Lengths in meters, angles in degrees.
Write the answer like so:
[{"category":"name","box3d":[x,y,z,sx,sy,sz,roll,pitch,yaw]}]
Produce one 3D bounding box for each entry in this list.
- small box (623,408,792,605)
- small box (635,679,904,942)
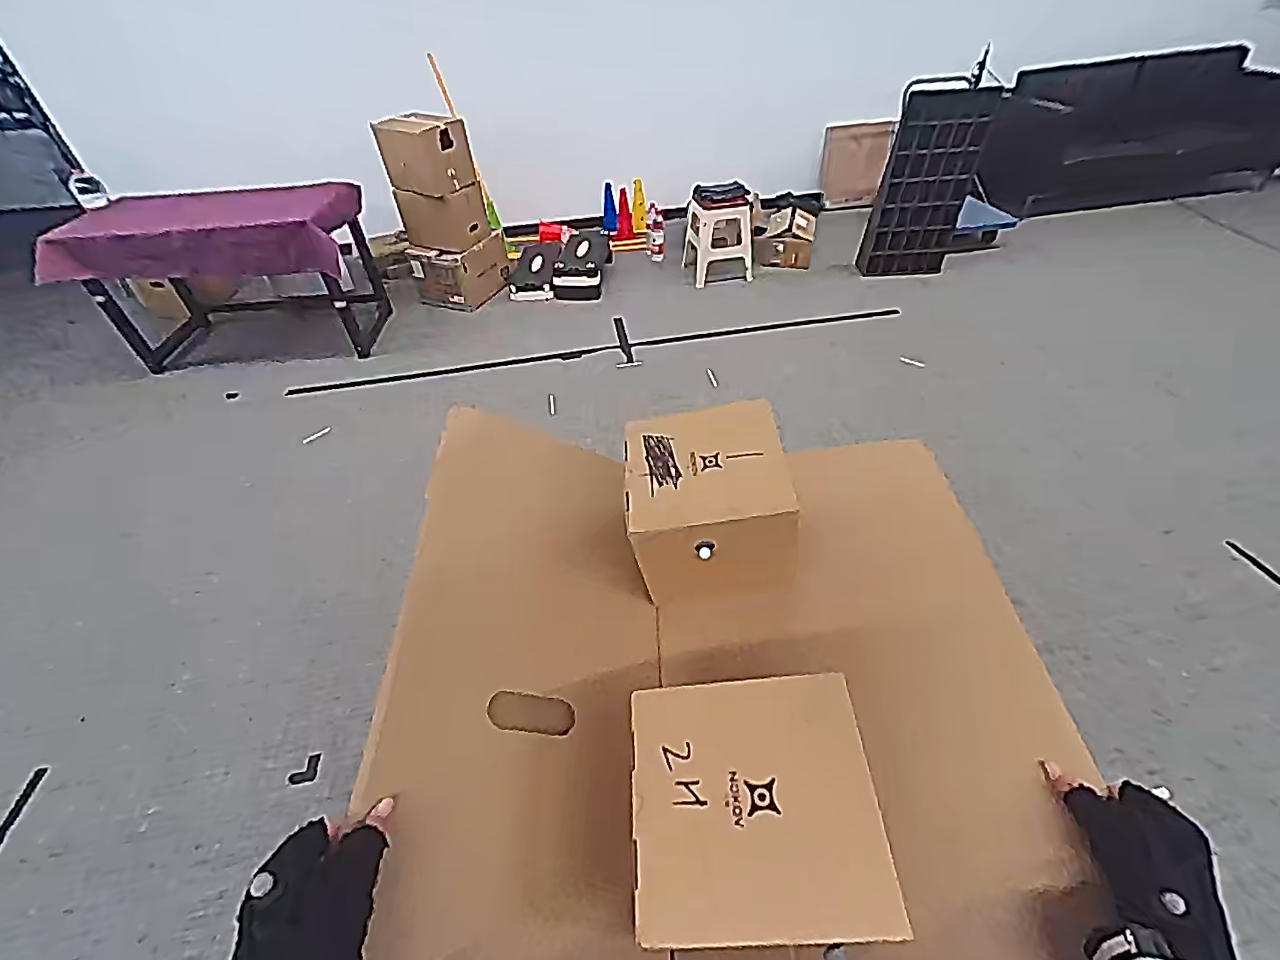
[{"category":"small box","box3d":[0.083,0.039,0.665,0.179,0.176,0.168,-9,50,7]},{"category":"small box","box3d":[0.096,0.284,0.462,0.179,0.176,0.168,-8,50,8]}]
